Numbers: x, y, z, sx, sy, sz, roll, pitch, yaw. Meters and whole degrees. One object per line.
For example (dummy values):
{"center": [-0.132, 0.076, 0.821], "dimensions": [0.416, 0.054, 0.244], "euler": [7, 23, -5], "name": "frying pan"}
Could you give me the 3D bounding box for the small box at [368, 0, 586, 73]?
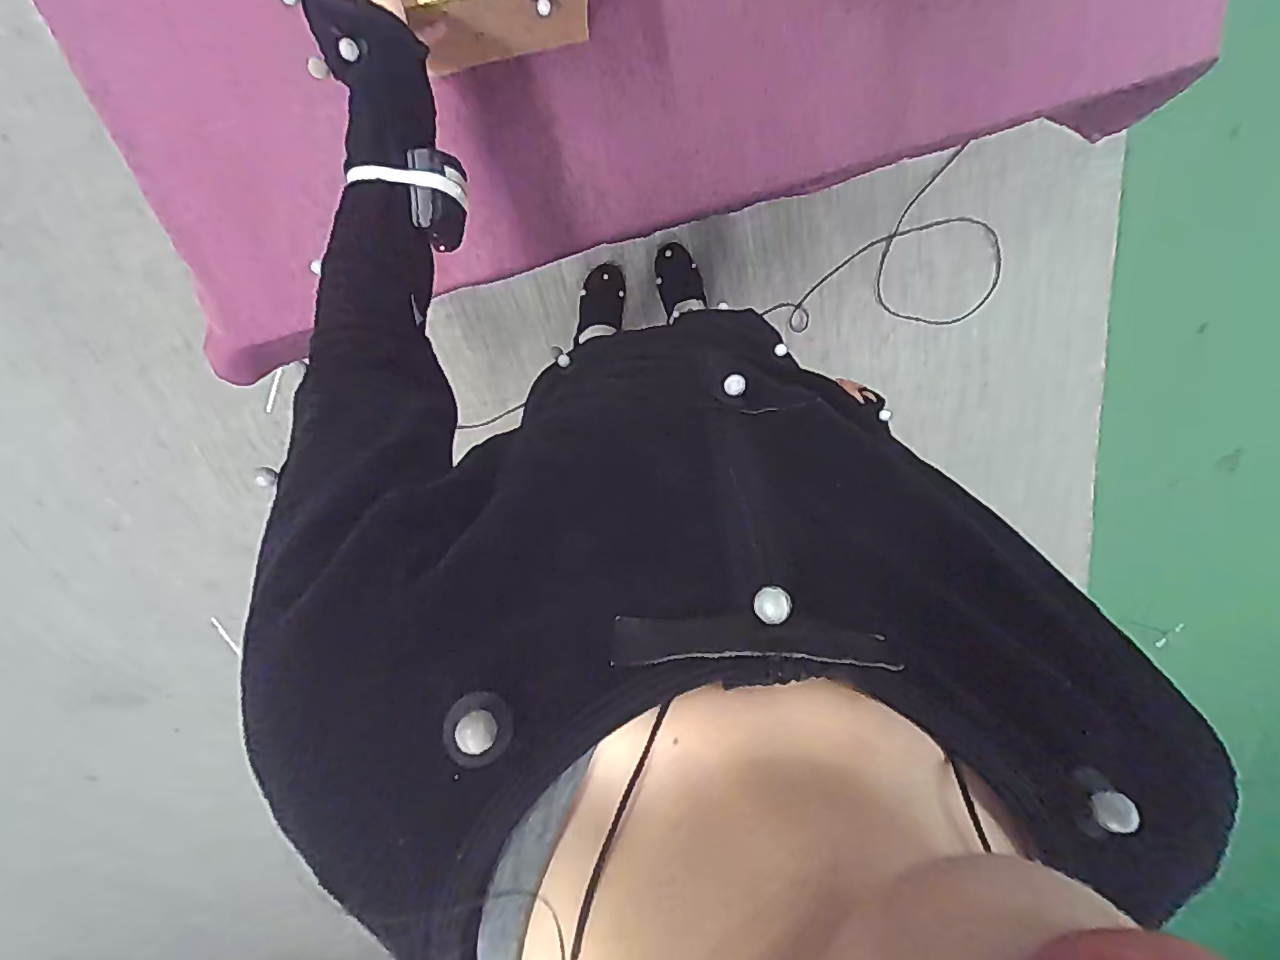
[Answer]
{"center": [-0.150, -0.486, 0.465], "dimensions": [0.179, 0.176, 0.168], "euler": [-15, 114, 0], "name": "small box"}
